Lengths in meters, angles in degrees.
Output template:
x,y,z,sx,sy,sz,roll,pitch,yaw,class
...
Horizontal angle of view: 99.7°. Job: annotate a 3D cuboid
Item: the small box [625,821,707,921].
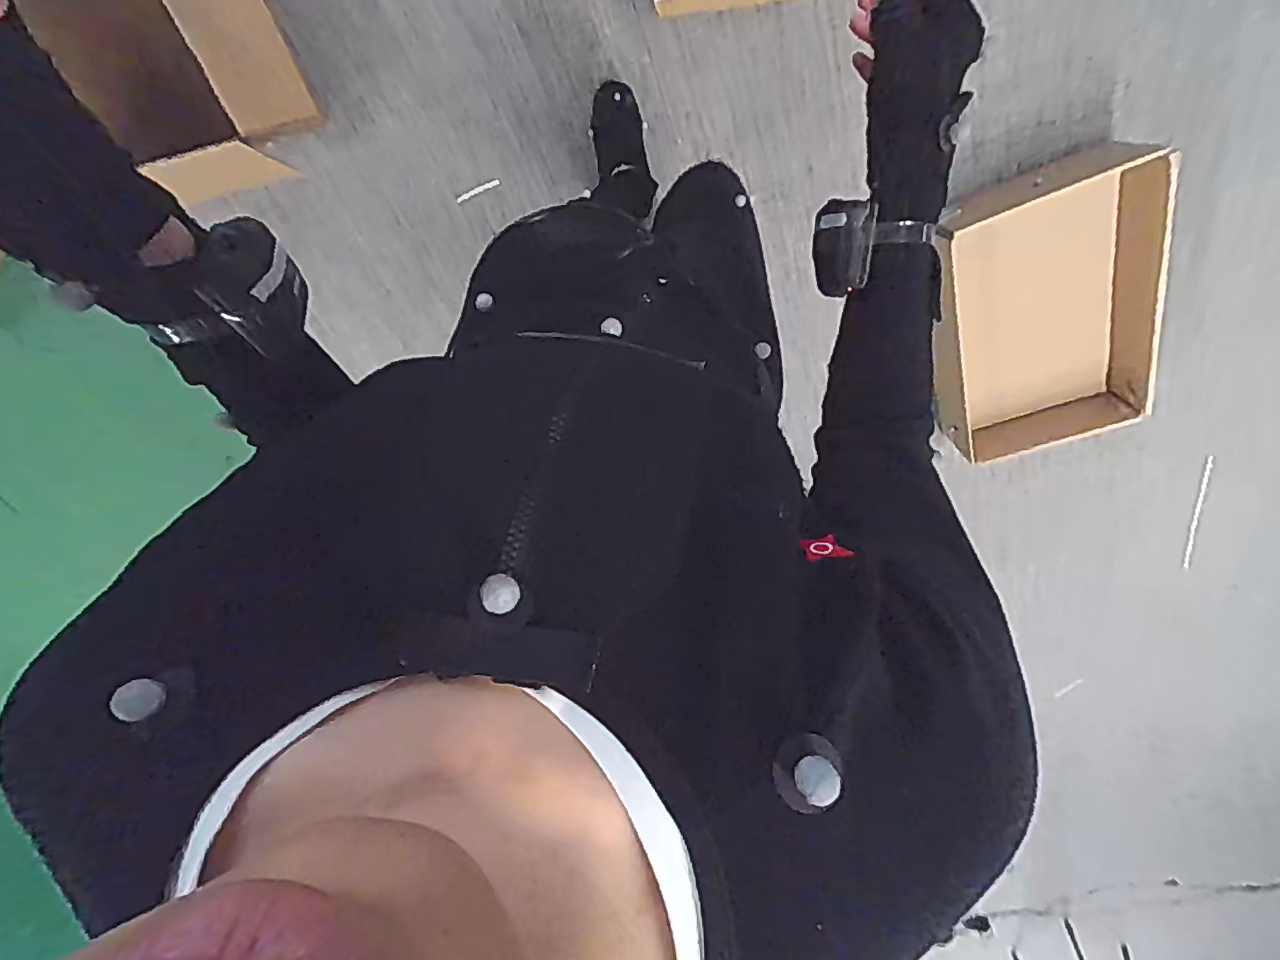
x,y,z,sx,sy,sz,roll,pitch,yaw,class
0.067,1.011,1.408,0.168,0.176,0.179,-16,124,13,small box
